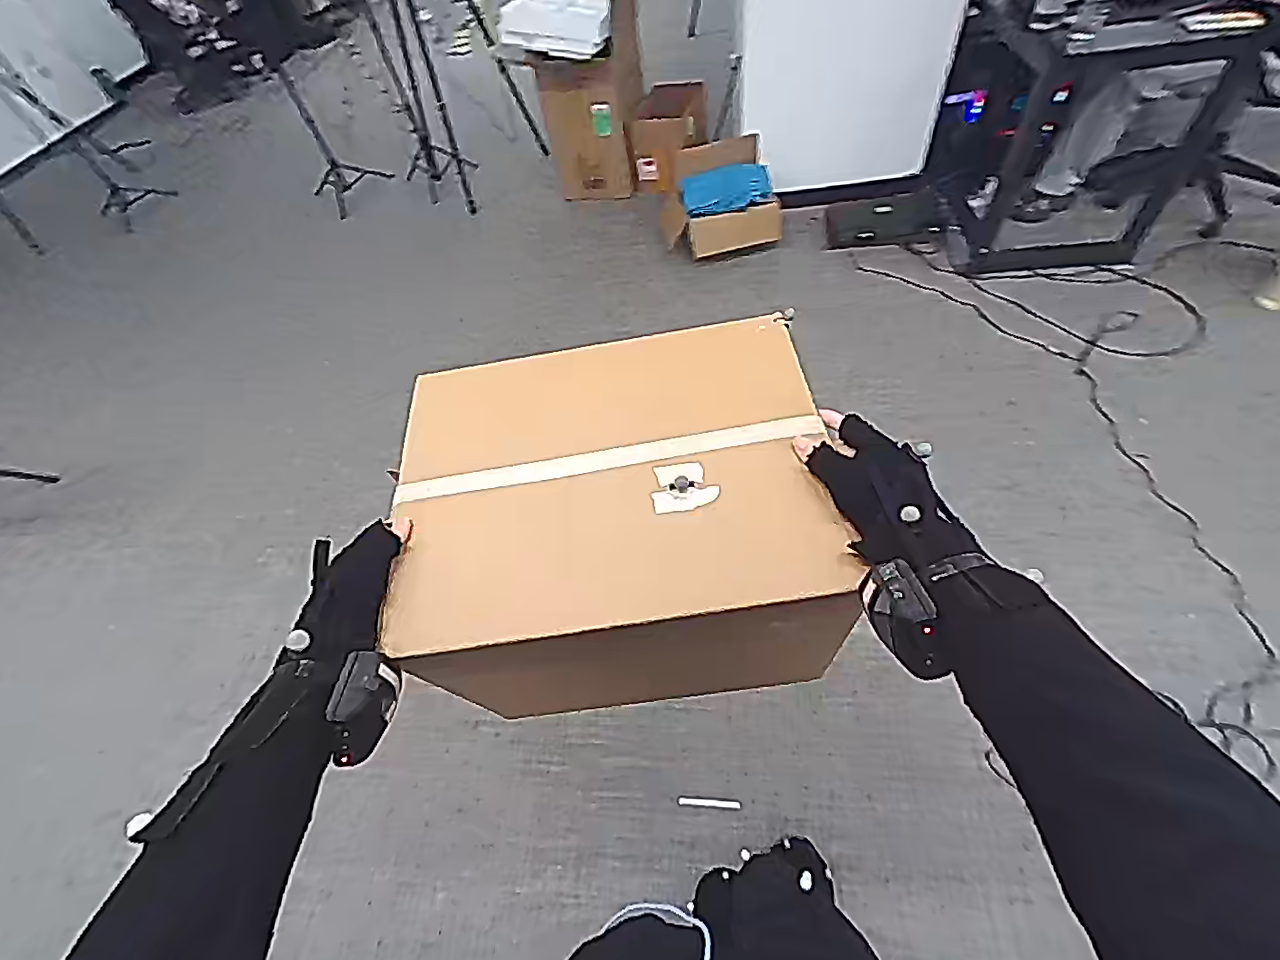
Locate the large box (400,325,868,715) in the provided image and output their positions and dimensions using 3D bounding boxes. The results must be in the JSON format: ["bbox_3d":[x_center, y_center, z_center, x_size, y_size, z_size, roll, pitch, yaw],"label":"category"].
[{"bbox_3d":[-0.010,0.065,0.649,0.408,0.320,0.320,-9,57,2],"label":"large box"}]
